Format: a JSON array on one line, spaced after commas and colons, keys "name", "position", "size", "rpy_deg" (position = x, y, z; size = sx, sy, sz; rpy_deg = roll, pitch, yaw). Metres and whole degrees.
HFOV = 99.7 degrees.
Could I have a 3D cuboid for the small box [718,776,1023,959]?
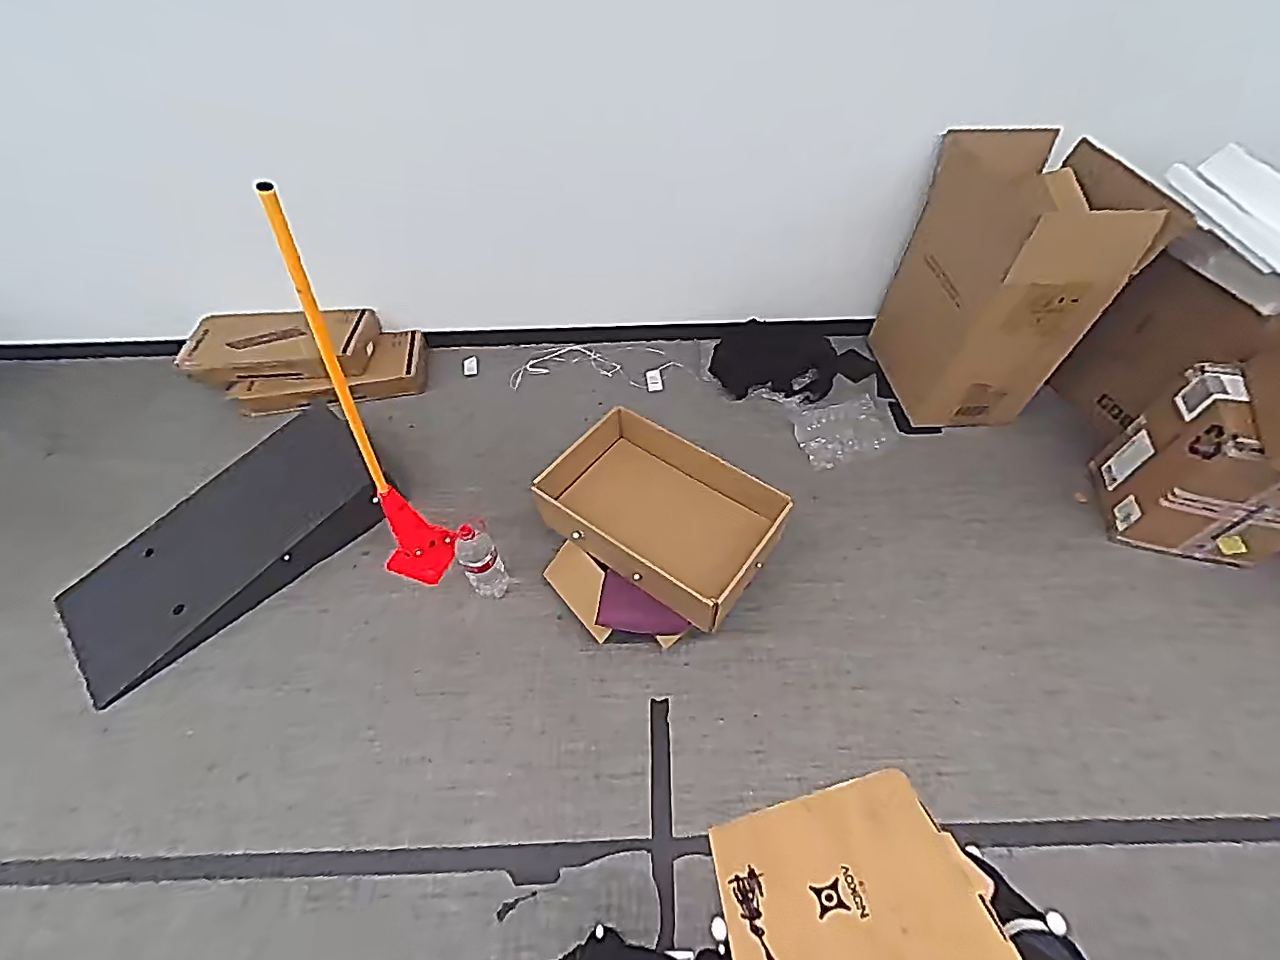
[{"name": "small box", "position": [0.179, 0.380, 0.420], "size": [0.179, 0.176, 0.168], "rpy_deg": [-20, 16, 3]}]
